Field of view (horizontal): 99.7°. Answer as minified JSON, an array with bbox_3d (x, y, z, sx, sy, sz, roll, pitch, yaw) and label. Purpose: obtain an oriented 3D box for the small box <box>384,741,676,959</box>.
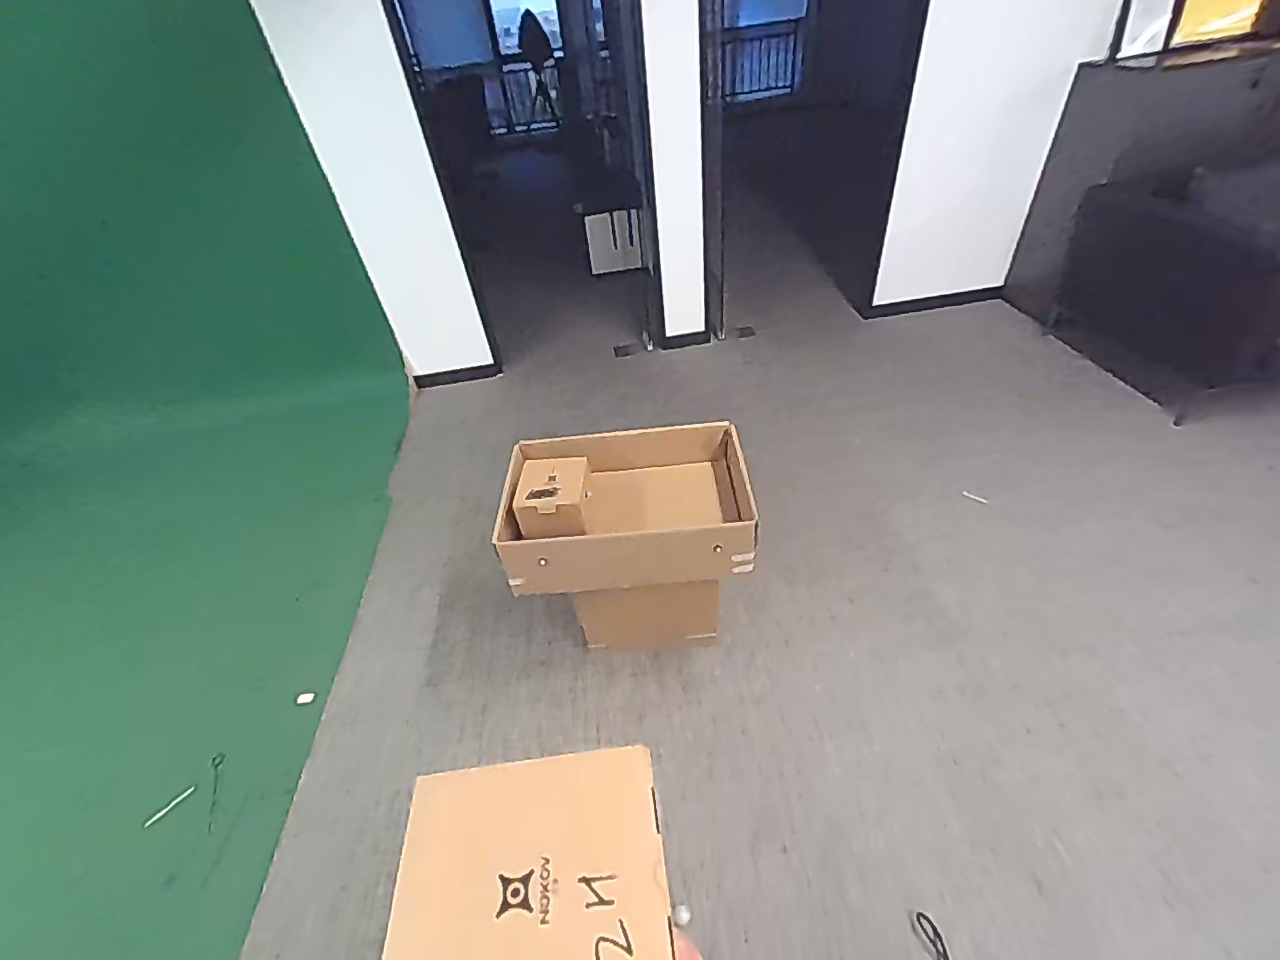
[{"bbox_3d":[-0.065,0.321,0.398,0.179,0.176,0.168,-6,41,-3],"label":"small box"}]
